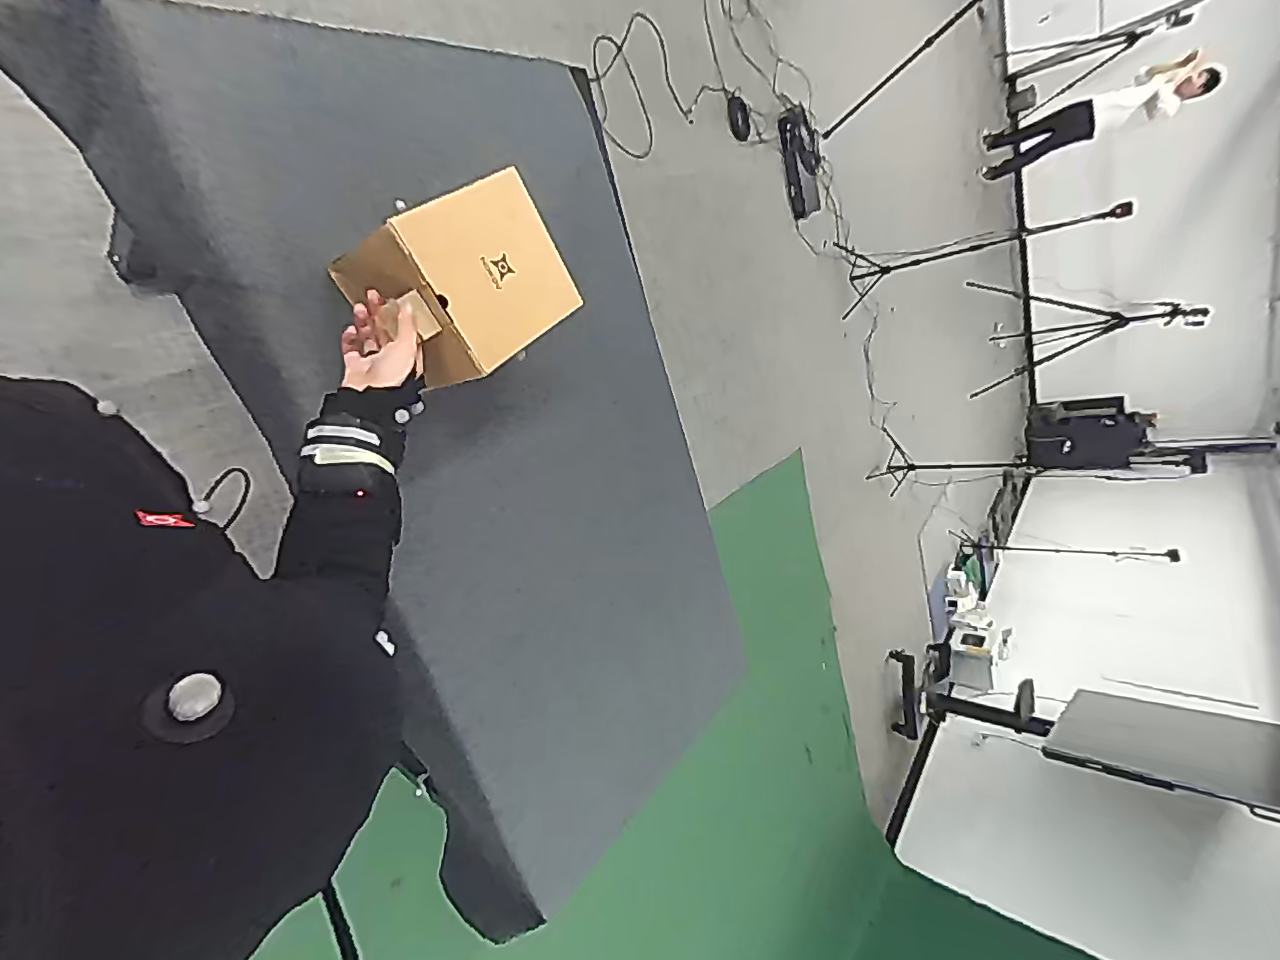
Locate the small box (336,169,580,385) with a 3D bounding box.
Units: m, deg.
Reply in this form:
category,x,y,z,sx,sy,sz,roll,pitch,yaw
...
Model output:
category,x,y,z,sx,sy,sz,roll,pitch,yaw
small box,-0.210,-0.228,0.633,0.179,0.176,0.168,-49,124,-34
